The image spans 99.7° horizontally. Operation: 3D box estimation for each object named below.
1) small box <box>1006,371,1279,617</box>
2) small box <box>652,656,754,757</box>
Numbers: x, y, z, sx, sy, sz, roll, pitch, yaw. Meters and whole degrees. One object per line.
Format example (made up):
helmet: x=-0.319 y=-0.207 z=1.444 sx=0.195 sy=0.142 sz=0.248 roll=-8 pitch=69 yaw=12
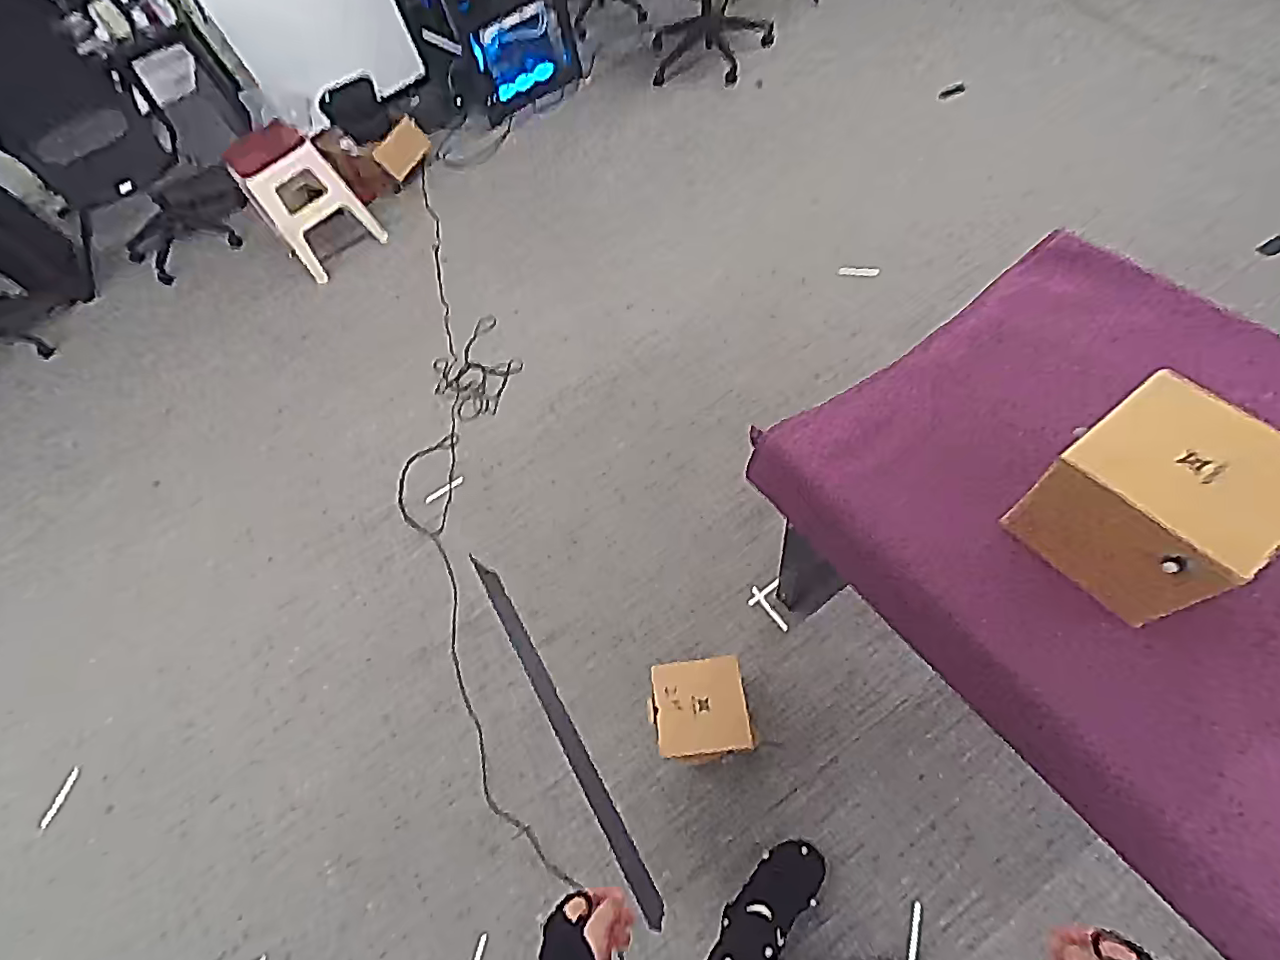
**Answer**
small box: x=0.557 y=0.022 z=0.595 sx=0.168 sy=0.176 sz=0.179 roll=-36 pitch=62 yaw=-10
small box: x=0.129 y=0.462 z=1.094 sx=0.179 sy=0.176 sz=0.168 roll=-10 pitch=60 yaw=7
